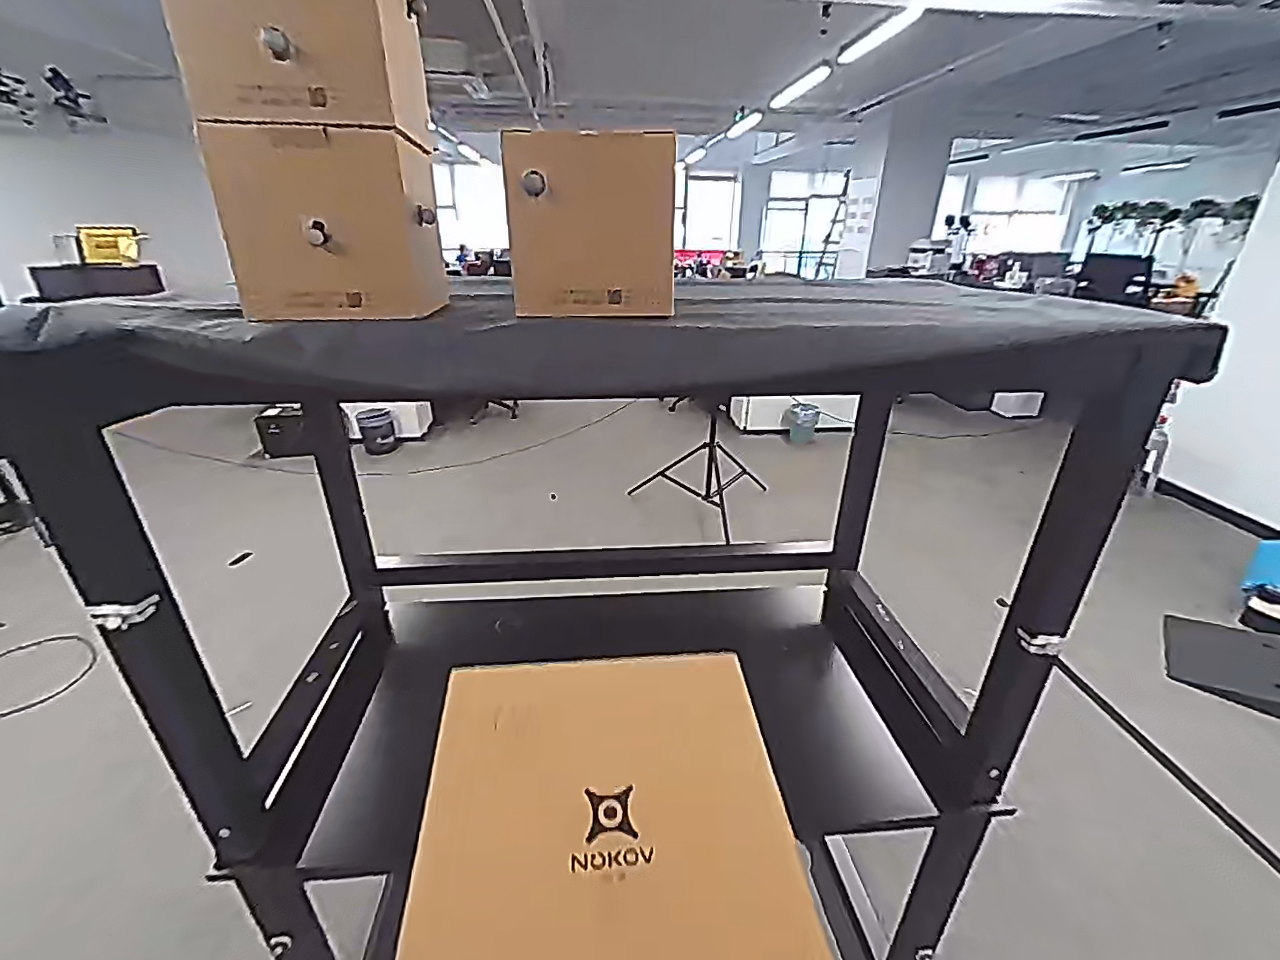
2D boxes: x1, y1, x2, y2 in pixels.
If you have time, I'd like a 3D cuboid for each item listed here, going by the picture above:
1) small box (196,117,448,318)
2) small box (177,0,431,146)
[{"bbox_3d":[-0.308,-0.268,0.574,0.168,0.176,0.179,-3,24,-9],"label":"small box"},{"bbox_3d":[-0.305,-0.420,0.510,0.168,0.176,0.179,-4,24,-8],"label":"small box"}]
